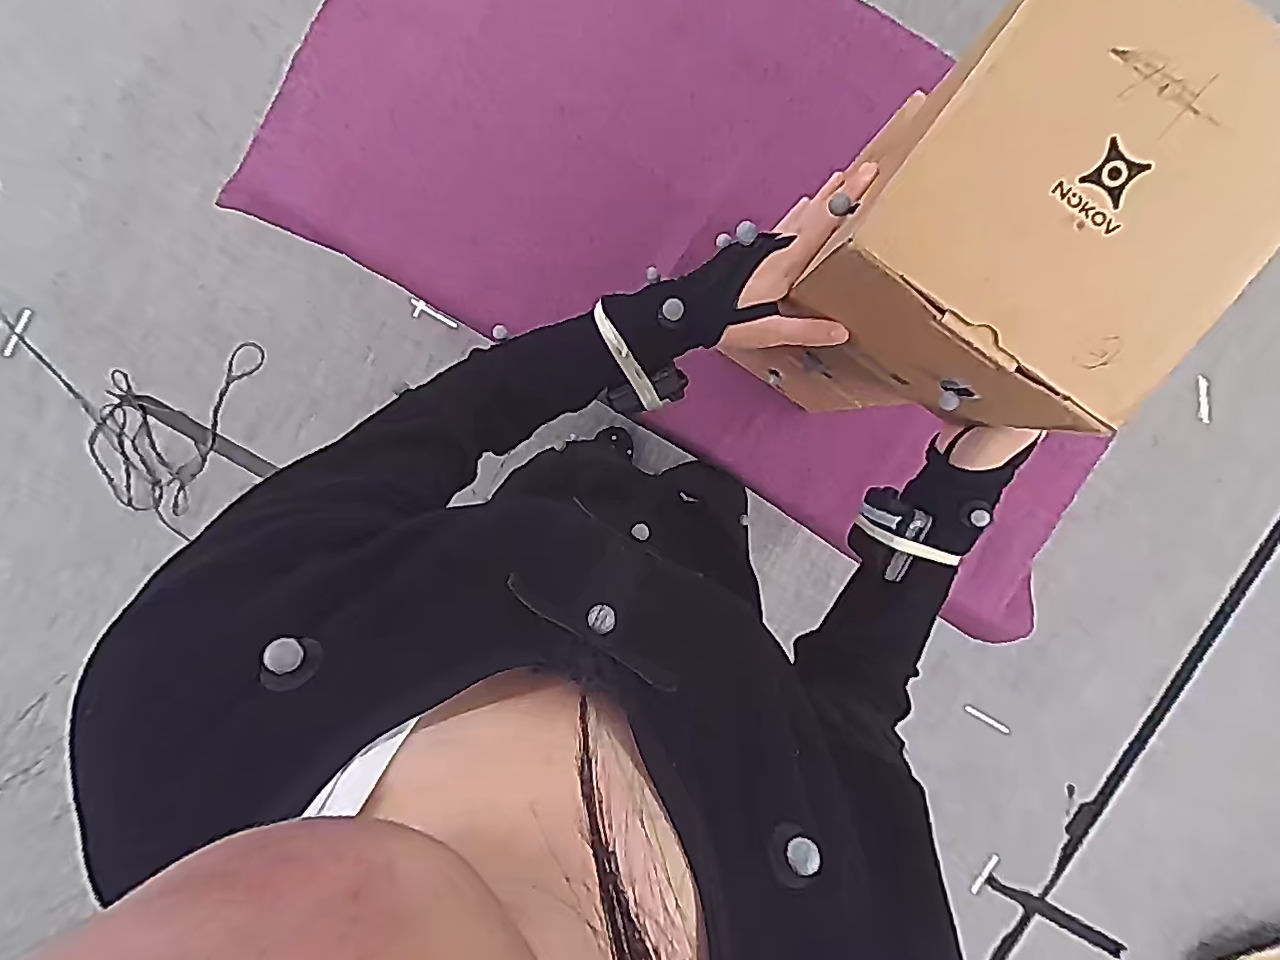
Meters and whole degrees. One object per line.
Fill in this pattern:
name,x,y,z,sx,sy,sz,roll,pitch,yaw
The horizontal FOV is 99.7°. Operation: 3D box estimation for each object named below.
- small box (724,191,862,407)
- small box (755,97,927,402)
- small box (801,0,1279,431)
small box,0.221,-0.203,0.670,0.168,0.176,0.179,33,93,-5
small box,0.231,-0.189,0.506,0.168,0.176,0.179,33,94,-4
small box,0.219,-0.149,0.326,0.168,0.176,0.179,35,98,-3
